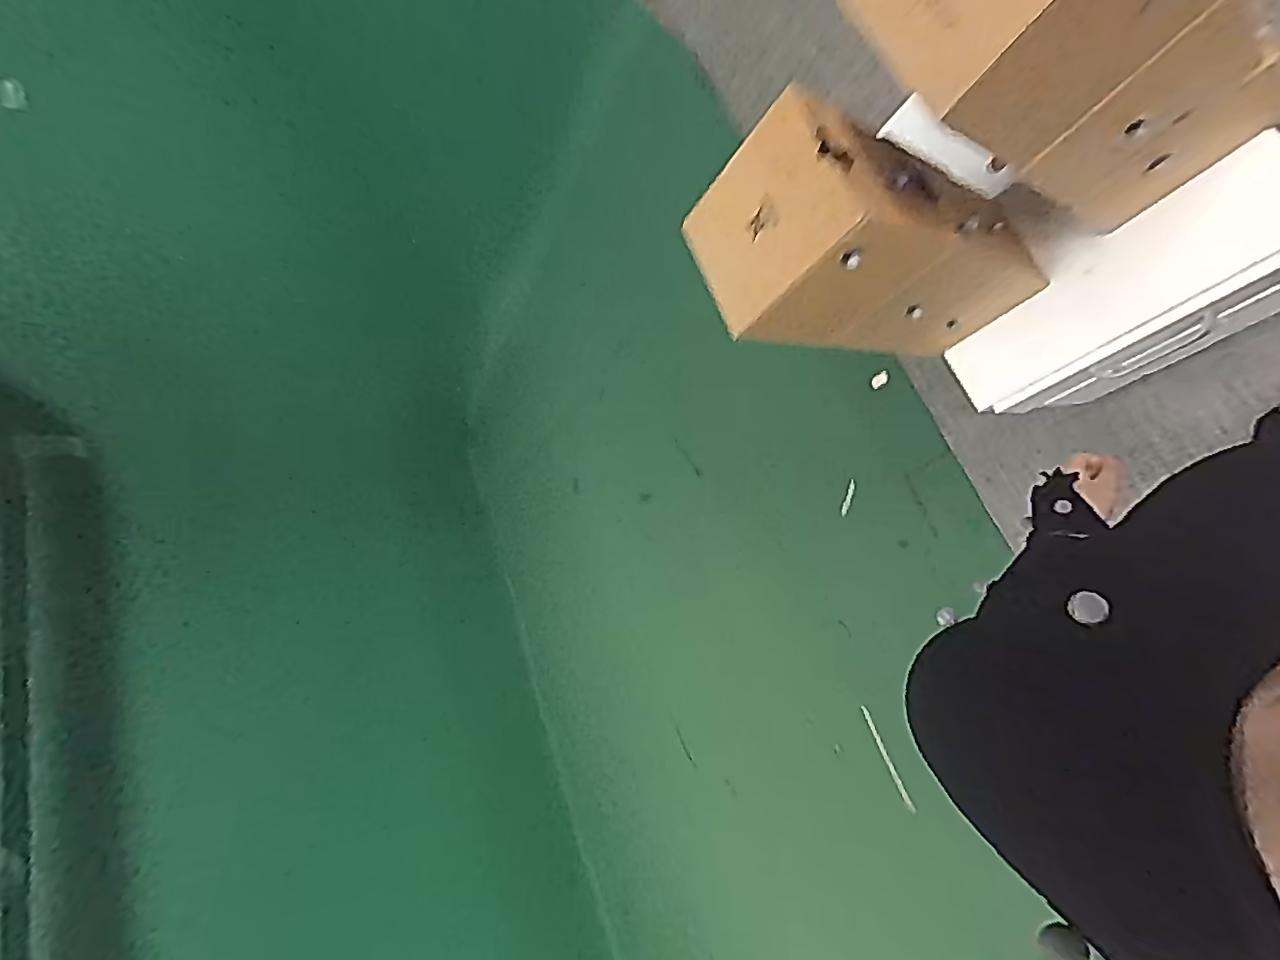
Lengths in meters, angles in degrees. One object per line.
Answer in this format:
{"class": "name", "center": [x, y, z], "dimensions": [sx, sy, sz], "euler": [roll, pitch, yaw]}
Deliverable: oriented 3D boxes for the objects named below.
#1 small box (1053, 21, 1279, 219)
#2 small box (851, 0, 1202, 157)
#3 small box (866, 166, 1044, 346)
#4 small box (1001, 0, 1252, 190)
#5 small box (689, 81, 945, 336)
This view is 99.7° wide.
{"class": "small box", "center": [0.568, -0.434, 0.624], "dimensions": [0.179, 0.176, 0.168], "euler": [-40, 66, 48]}
{"class": "small box", "center": [0.309, -0.400, 0.426], "dimensions": [0.179, 0.176, 0.168], "euler": [-43, 64, 49]}
{"class": "small box", "center": [0.447, -0.315, 0.803], "dimensions": [0.179, 0.176, 0.168], "euler": [-39, 67, 46]}
{"class": "small box", "center": [0.434, -0.416, 0.530], "dimensions": [0.168, 0.176, 0.179], "euler": [-43, 63, 47]}
{"class": "small box", "center": [0.191, -0.278, 0.601], "dimensions": [0.179, 0.176, 0.168], "euler": [-39, 65, 47]}
